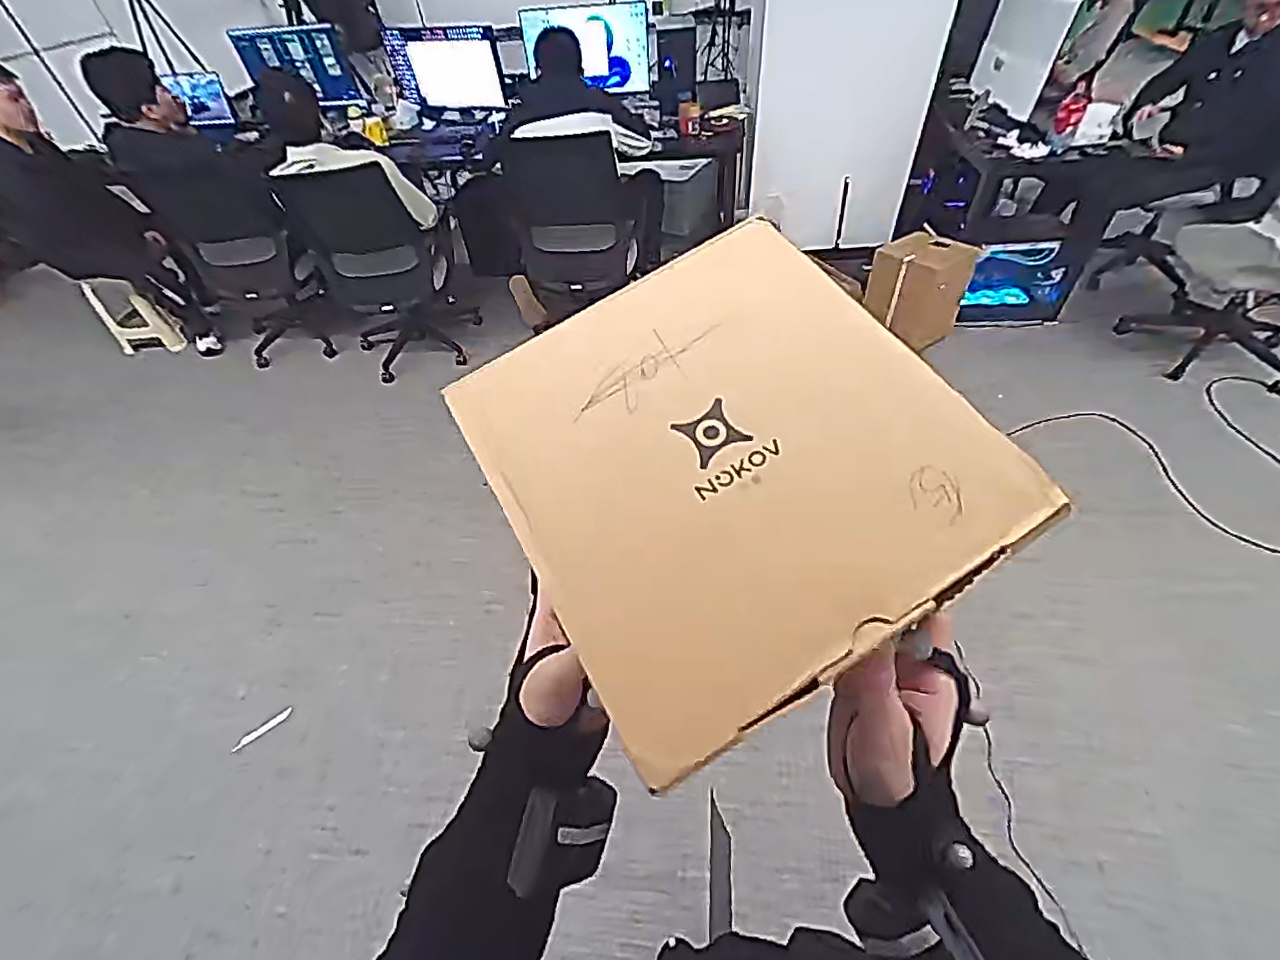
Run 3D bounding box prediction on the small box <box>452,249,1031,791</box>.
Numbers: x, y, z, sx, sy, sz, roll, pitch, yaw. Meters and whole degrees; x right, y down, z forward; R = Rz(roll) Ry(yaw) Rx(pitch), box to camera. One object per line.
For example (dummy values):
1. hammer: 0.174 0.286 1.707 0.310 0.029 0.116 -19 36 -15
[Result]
1. small box: 0.038 0.027 0.287 0.168 0.176 0.179 -31 64 -7
